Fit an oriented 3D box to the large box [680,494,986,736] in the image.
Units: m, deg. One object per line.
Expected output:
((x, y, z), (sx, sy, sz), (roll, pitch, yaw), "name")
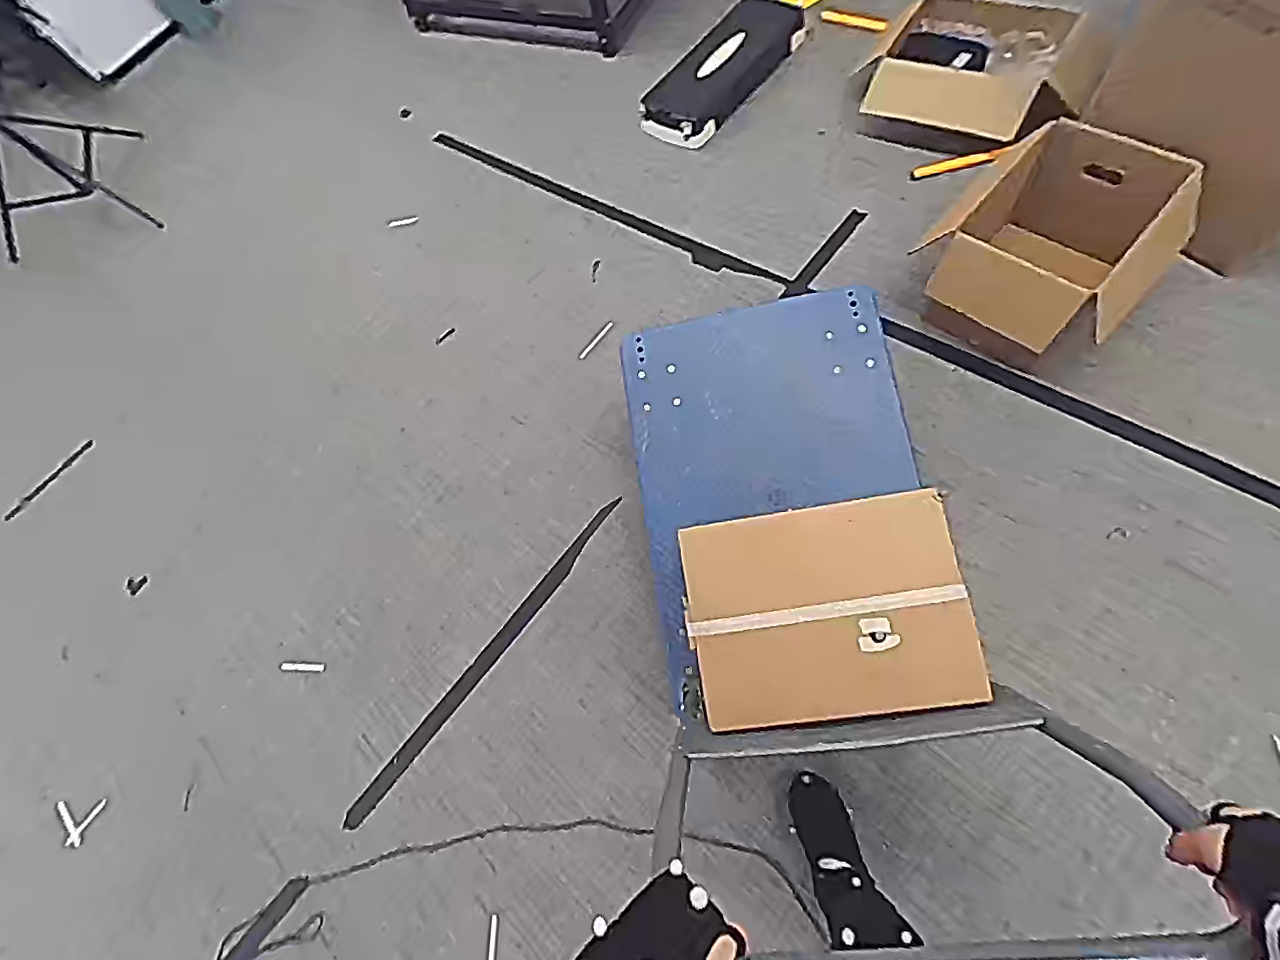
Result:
((0.302, 0.232, 0.969), (0.408, 0.320, 0.320), (-10, 80, 7), "large box")
